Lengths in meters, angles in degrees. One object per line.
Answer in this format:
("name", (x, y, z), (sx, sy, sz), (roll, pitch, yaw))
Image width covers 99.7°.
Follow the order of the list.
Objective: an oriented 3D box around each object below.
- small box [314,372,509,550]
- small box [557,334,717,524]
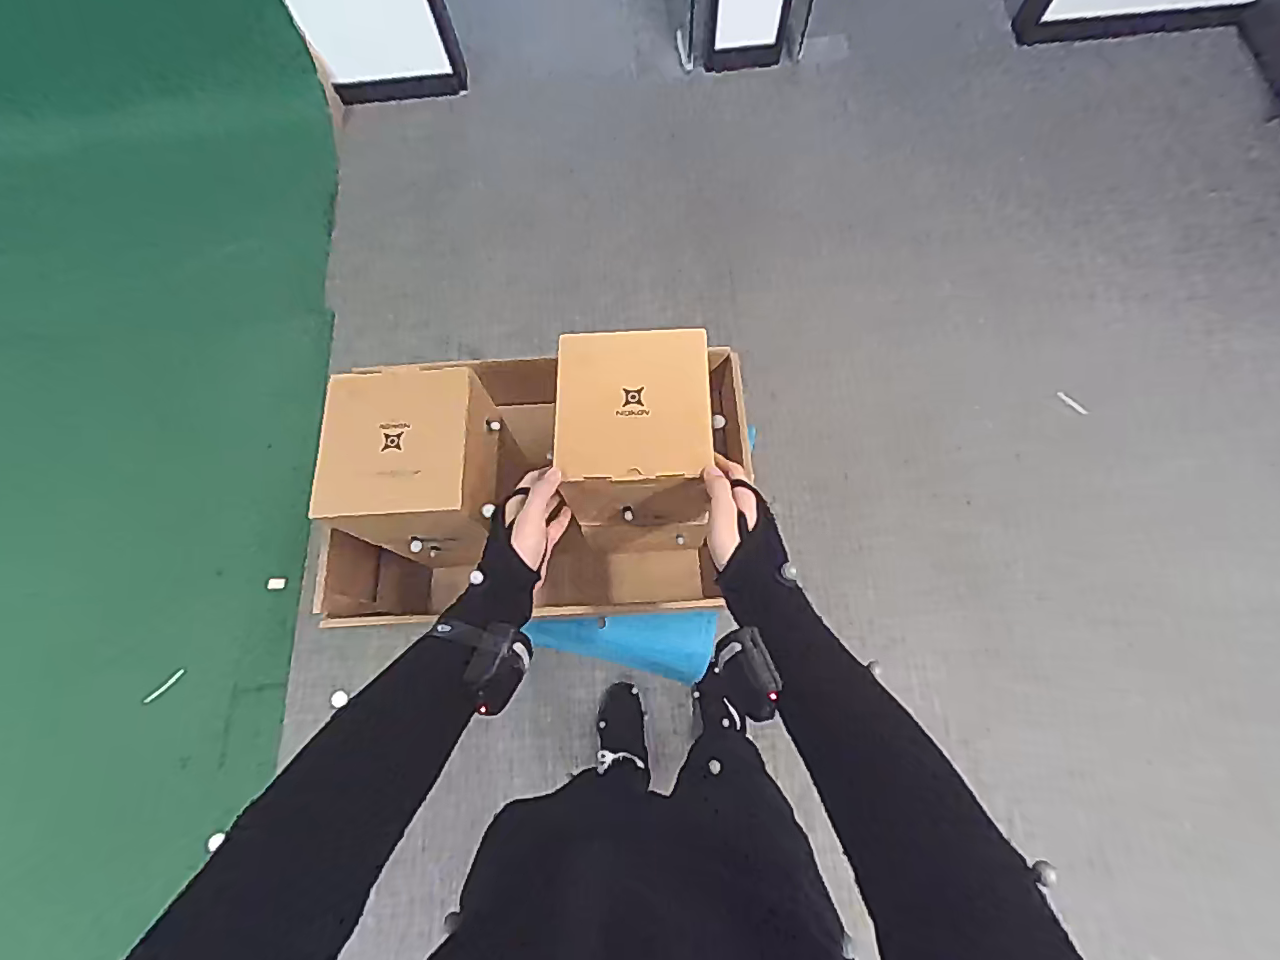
("small box", (-0.268, -0.017, 0.680), (0.168, 0.176, 0.179), (-3, 71, 1))
("small box", (0.000, -0.053, 0.649), (0.168, 0.176, 0.179), (-1, 70, 2))
